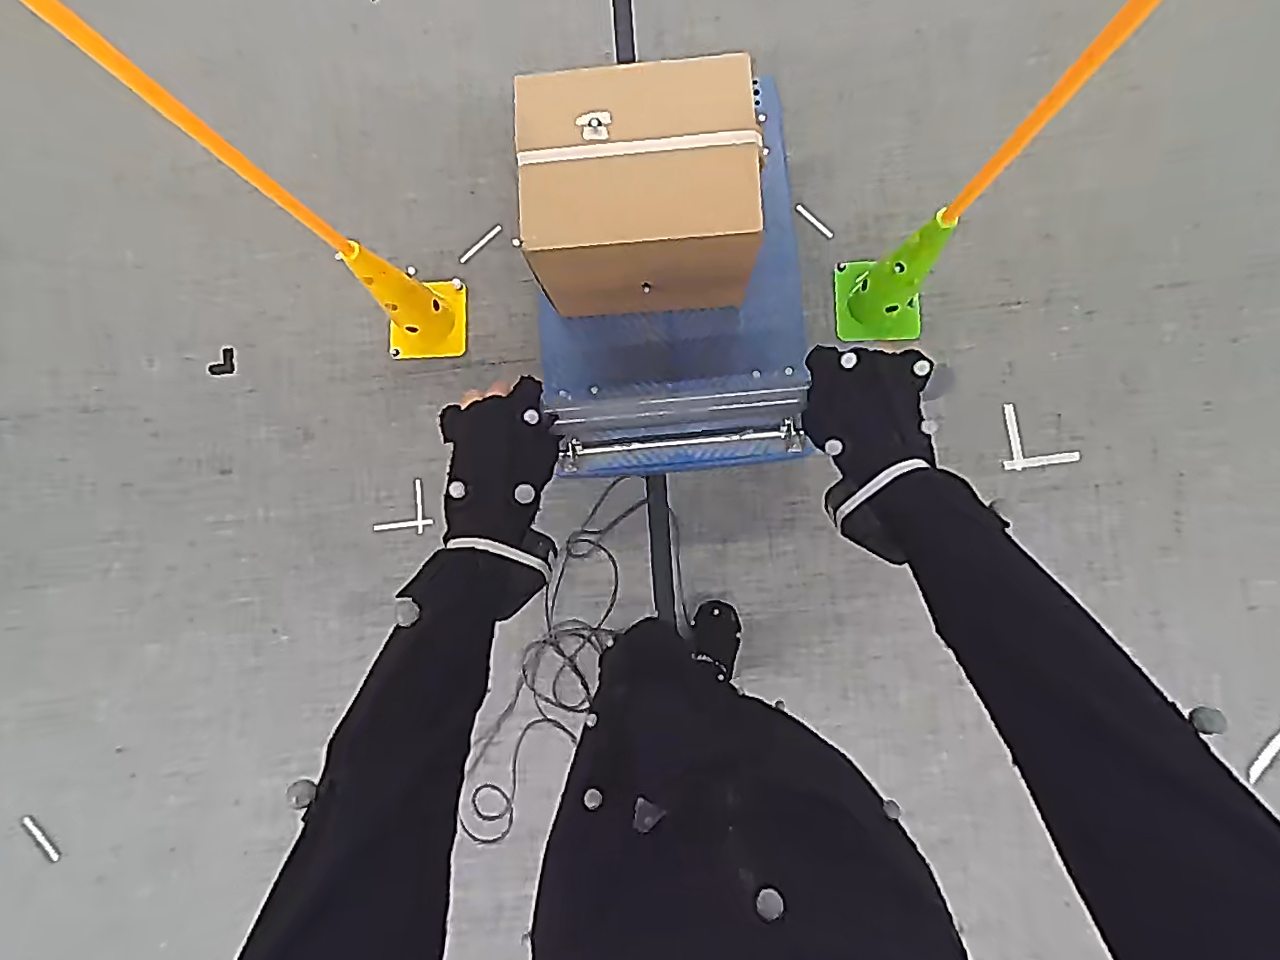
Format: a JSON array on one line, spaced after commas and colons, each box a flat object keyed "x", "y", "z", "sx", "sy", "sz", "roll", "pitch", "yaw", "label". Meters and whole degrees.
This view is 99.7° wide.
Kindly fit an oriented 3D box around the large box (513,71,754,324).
[{"x": -0.003, "y": -0.521, "z": 1.070, "sx": 0.408, "sy": 0.320, "sz": 0.320, "roll": -3, "pitch": 86, "yaw": 4, "label": "large box"}]

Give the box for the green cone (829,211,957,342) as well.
[{"x": 0.566, "y": -0.456, "z": 1.169, "sx": 0.202, "sy": 0.368, "sz": 0.200, "roll": -1, "pitch": 85, "yaw": 2, "label": "green cone"}]
